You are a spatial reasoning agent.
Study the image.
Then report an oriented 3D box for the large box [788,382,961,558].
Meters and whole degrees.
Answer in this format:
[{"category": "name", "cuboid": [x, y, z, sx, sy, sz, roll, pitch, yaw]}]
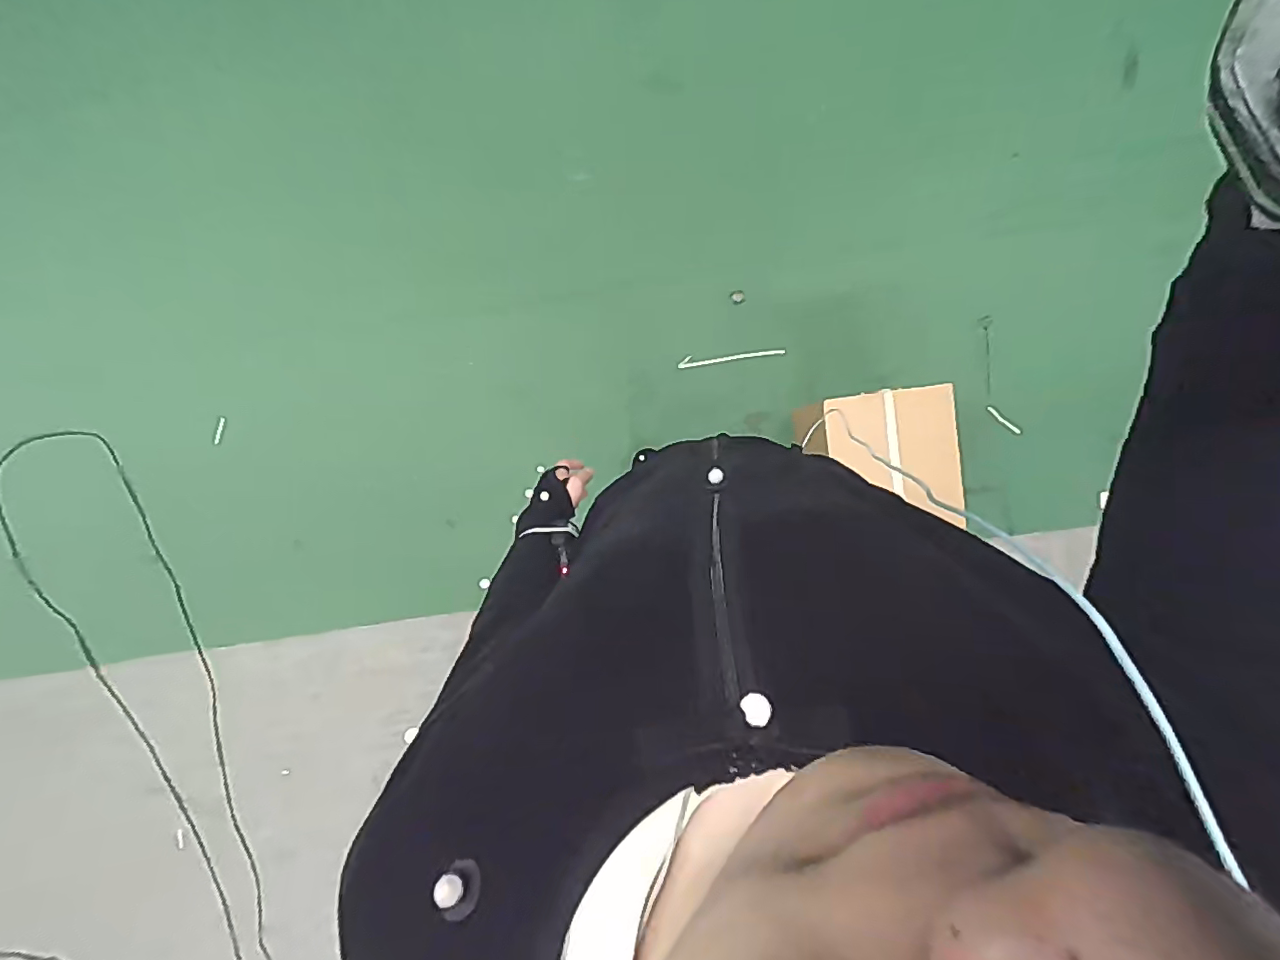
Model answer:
[{"category": "large box", "cuboid": [0.615, -0.031, 1.474, 0.320, 0.320, 0.408, -8, 93, 2]}]
